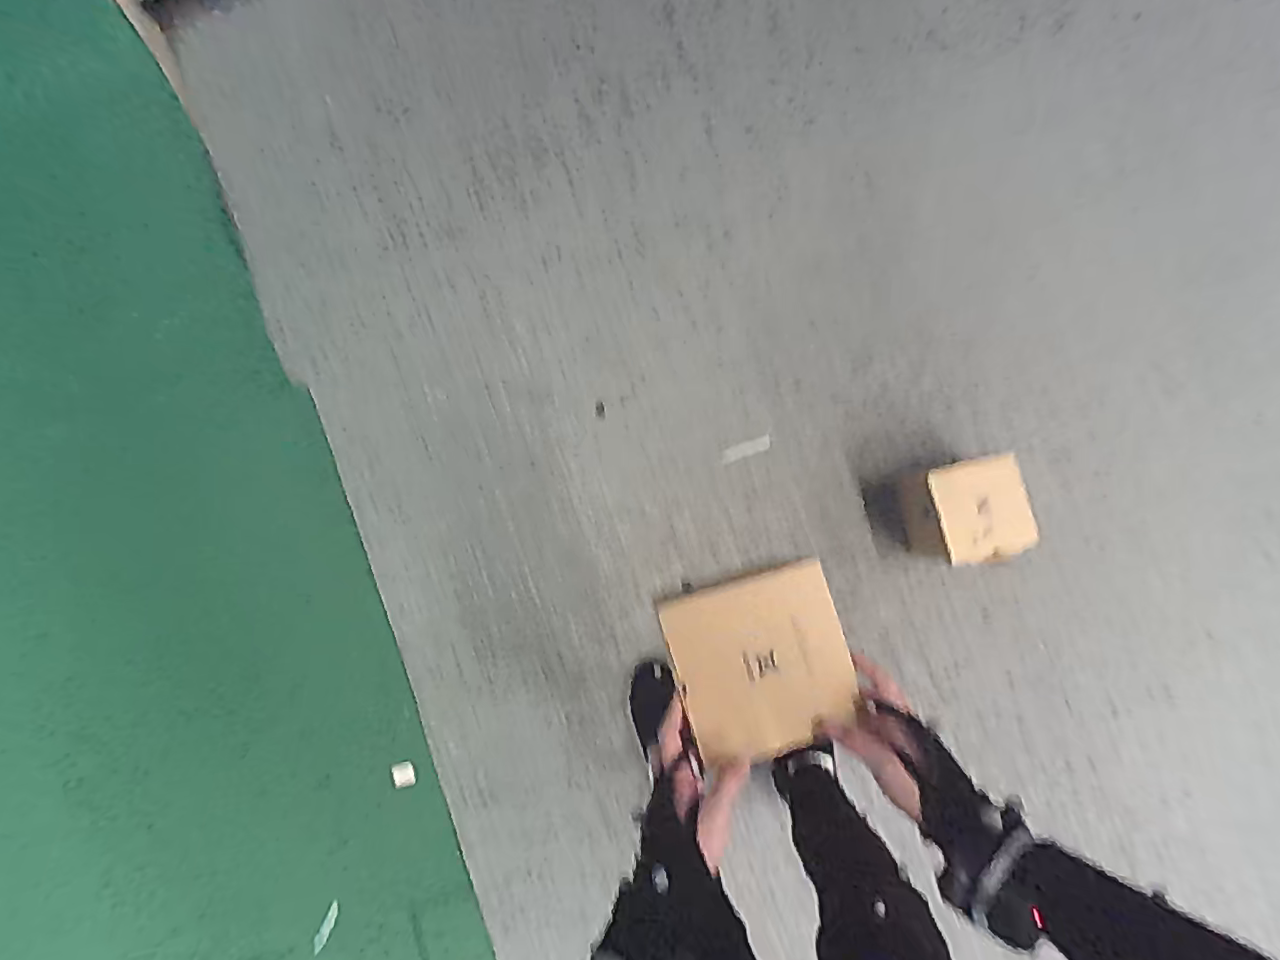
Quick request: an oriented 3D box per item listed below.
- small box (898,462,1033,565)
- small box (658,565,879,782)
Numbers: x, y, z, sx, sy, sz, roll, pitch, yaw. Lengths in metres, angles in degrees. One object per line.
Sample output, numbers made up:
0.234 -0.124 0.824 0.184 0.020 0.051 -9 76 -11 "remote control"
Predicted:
0.638 0.066 1.081 0.168 0.176 0.179 -8 89 4 "small box"
0.124 0.197 0.599 0.179 0.176 0.168 -16 82 -3 "small box"
